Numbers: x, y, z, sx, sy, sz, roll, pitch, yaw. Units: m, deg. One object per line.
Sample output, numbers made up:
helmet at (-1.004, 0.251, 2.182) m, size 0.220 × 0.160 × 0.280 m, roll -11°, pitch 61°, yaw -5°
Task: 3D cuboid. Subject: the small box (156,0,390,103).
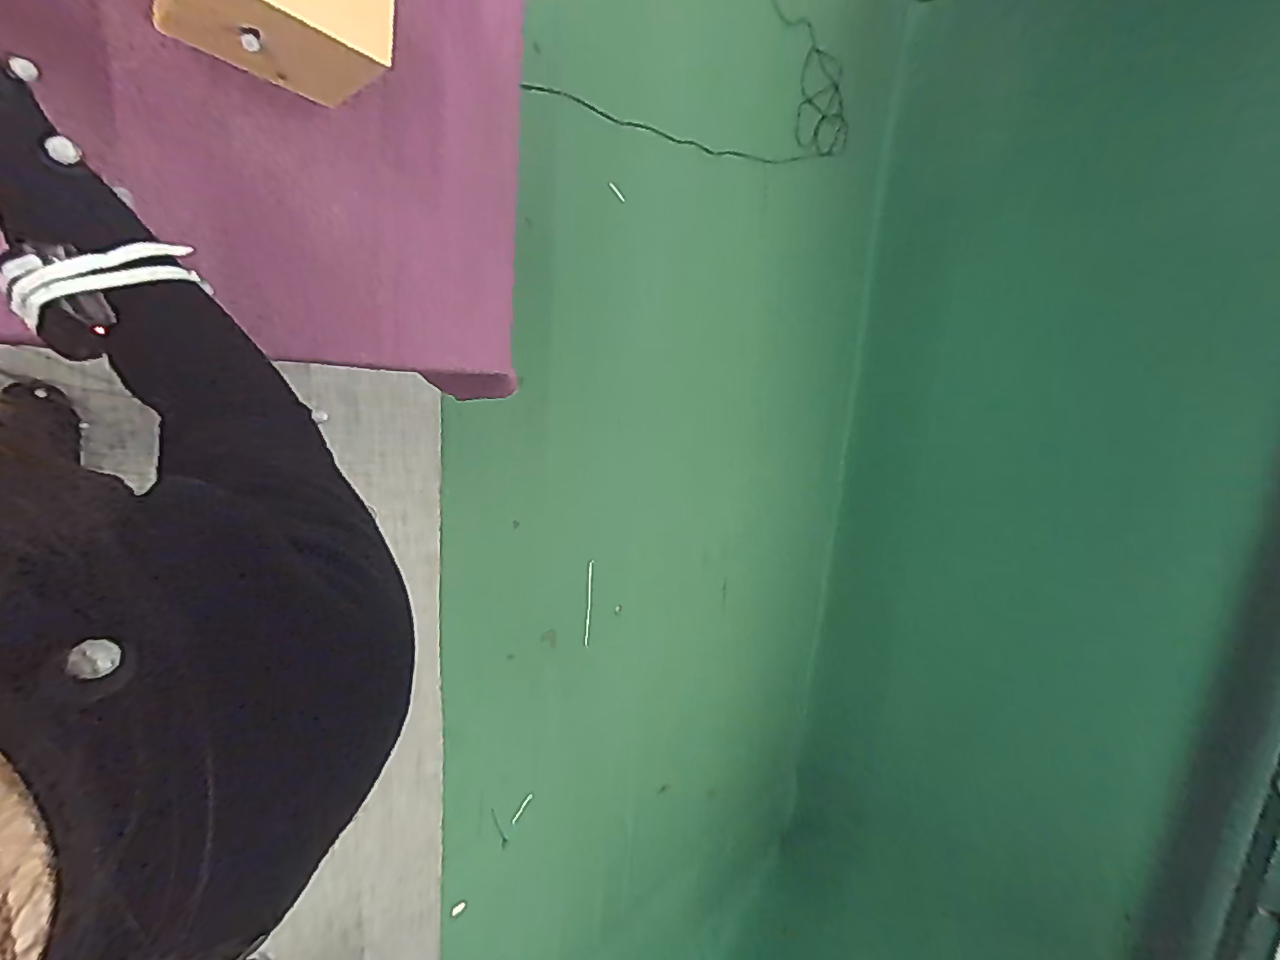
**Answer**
small box at (-0.363, -0.519, 0.536) m, size 0.168 × 0.176 × 0.179 m, roll -2°, pitch 101°, yaw -48°
